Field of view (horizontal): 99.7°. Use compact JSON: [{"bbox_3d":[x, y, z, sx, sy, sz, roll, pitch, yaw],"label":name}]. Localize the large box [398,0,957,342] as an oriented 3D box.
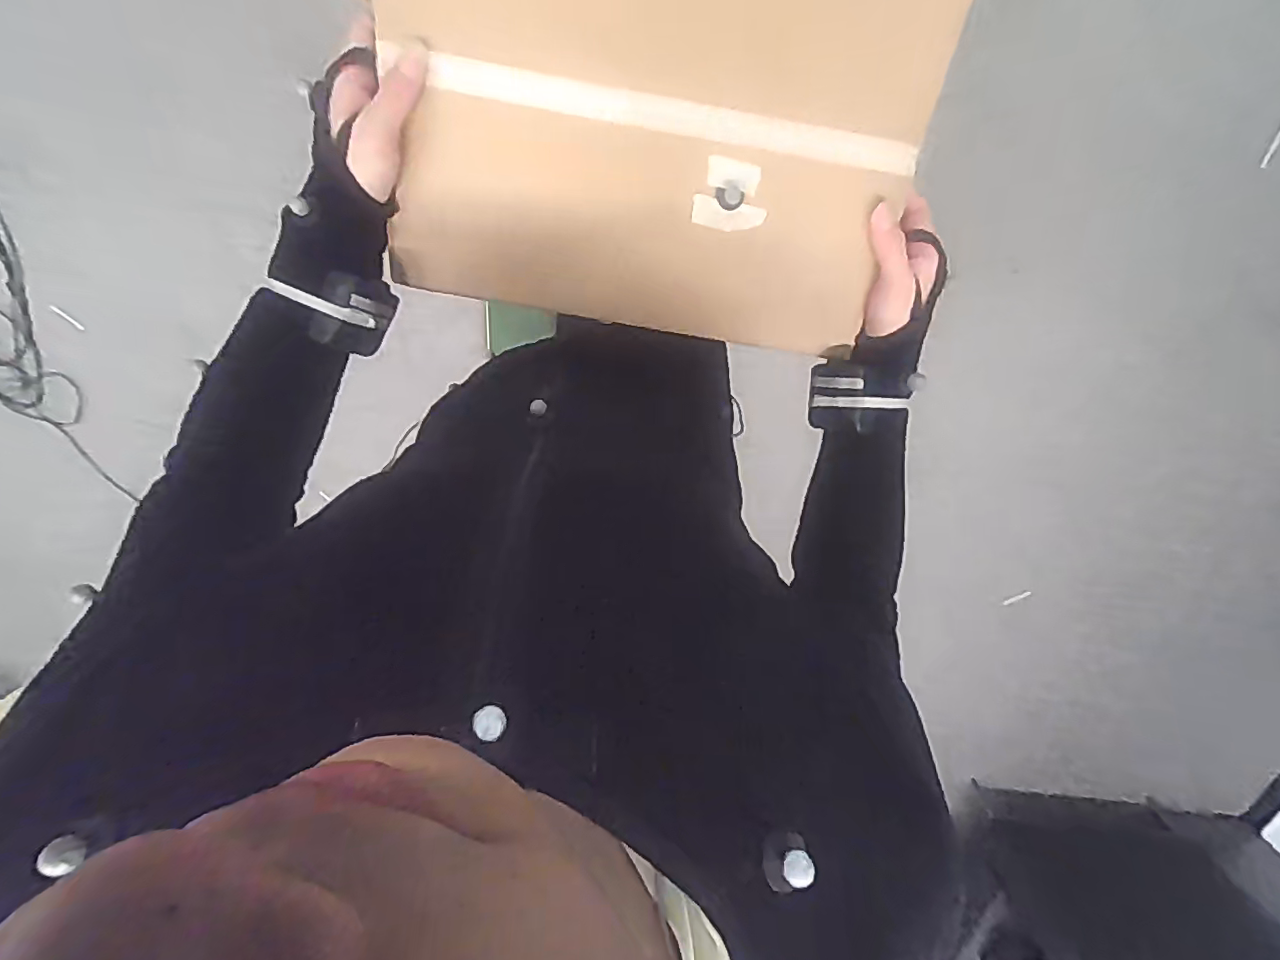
[{"bbox_3d":[0.015,-0.351,0.548,0.408,0.320,0.320,8,117,-5],"label":"large box"}]
